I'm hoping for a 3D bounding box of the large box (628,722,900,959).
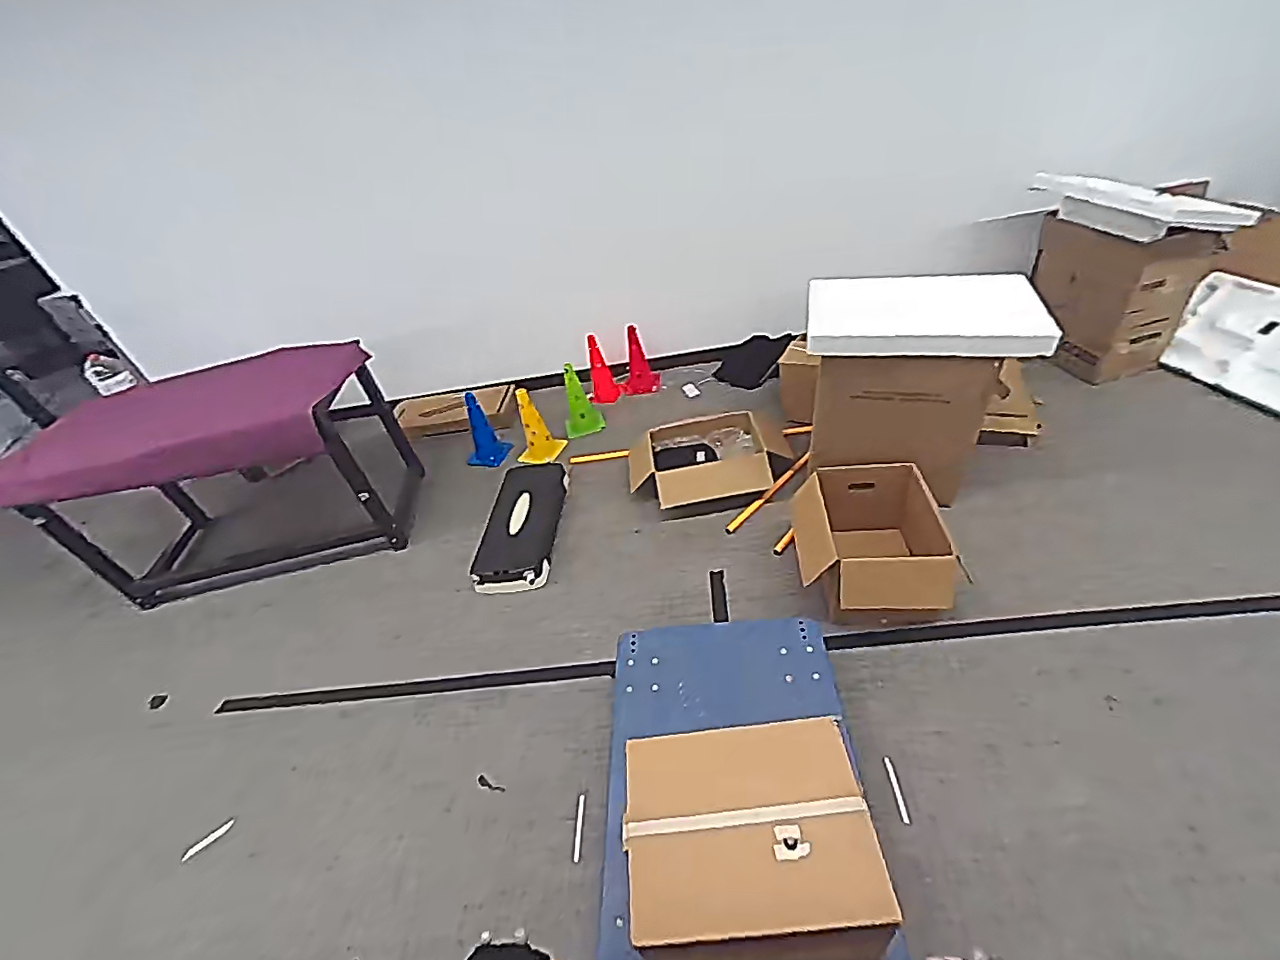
[{"bbox_3d":[0.201,0.701,1.009,0.408,0.320,0.320,-8,39,3],"label":"large box"}]
